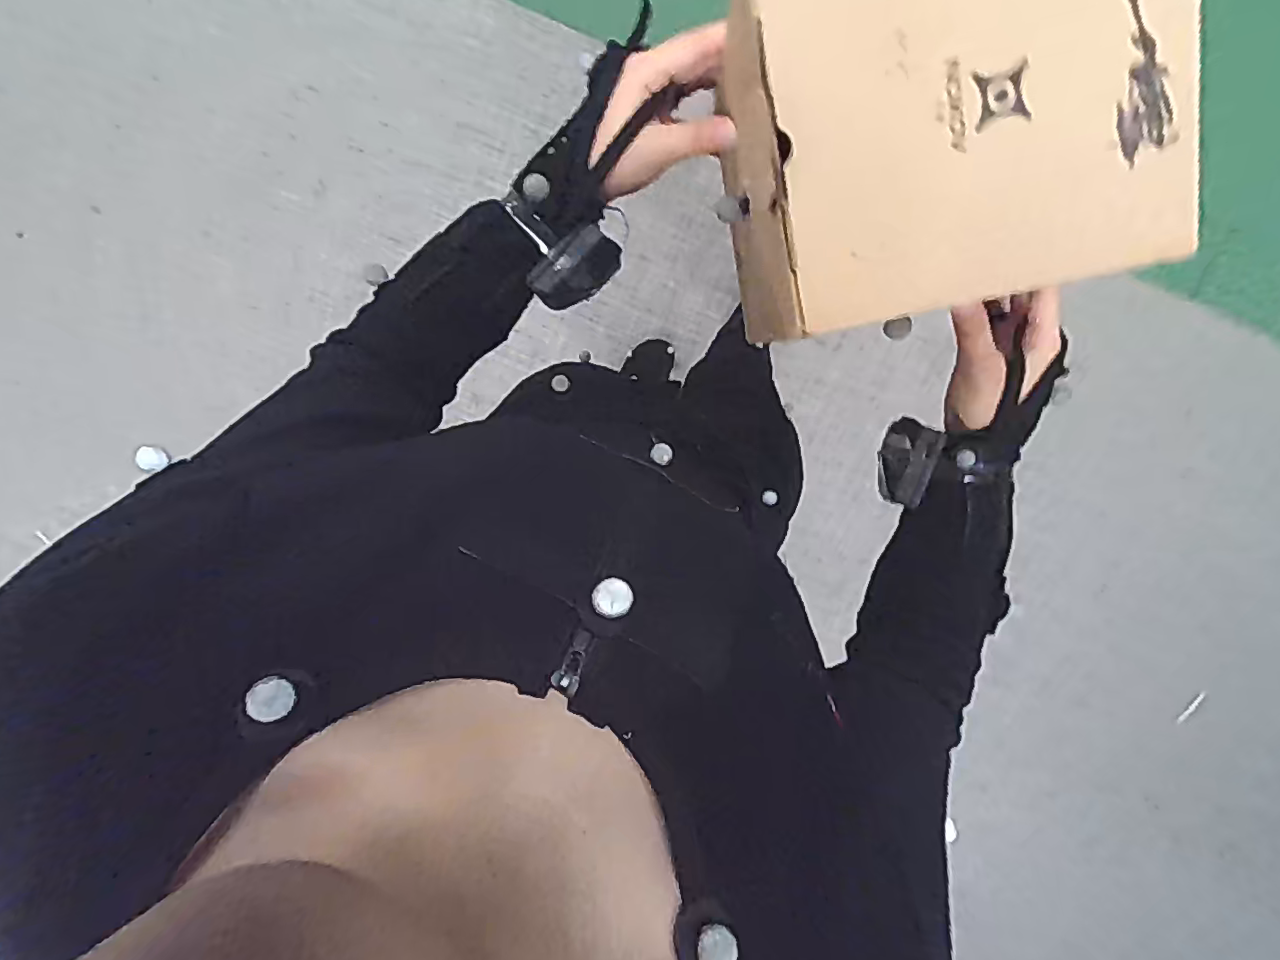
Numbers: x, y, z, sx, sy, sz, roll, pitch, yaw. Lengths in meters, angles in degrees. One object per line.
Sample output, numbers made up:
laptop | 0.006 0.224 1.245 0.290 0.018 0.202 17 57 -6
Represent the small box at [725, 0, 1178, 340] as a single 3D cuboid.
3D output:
small box | 0.148 -0.181 0.316 0.179 0.176 0.168 -11 102 6
